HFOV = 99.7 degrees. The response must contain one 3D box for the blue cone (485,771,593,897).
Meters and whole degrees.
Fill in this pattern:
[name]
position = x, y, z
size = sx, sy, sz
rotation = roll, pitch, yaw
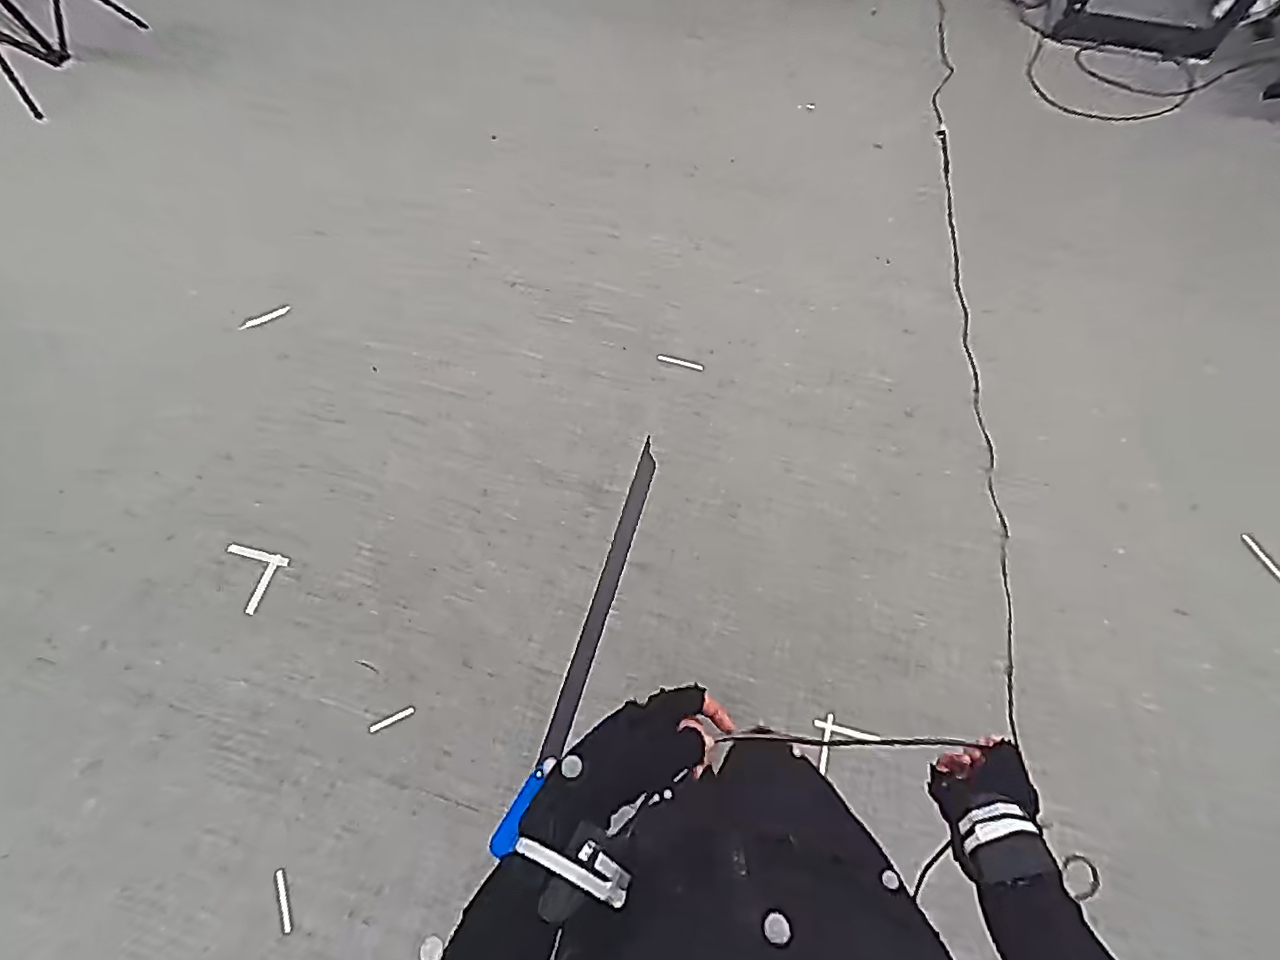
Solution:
[blue cone]
position = -0.220, 0.712, 1.037
size = 0.192, 0.380, 0.193
rotation = 31, 72, 13
